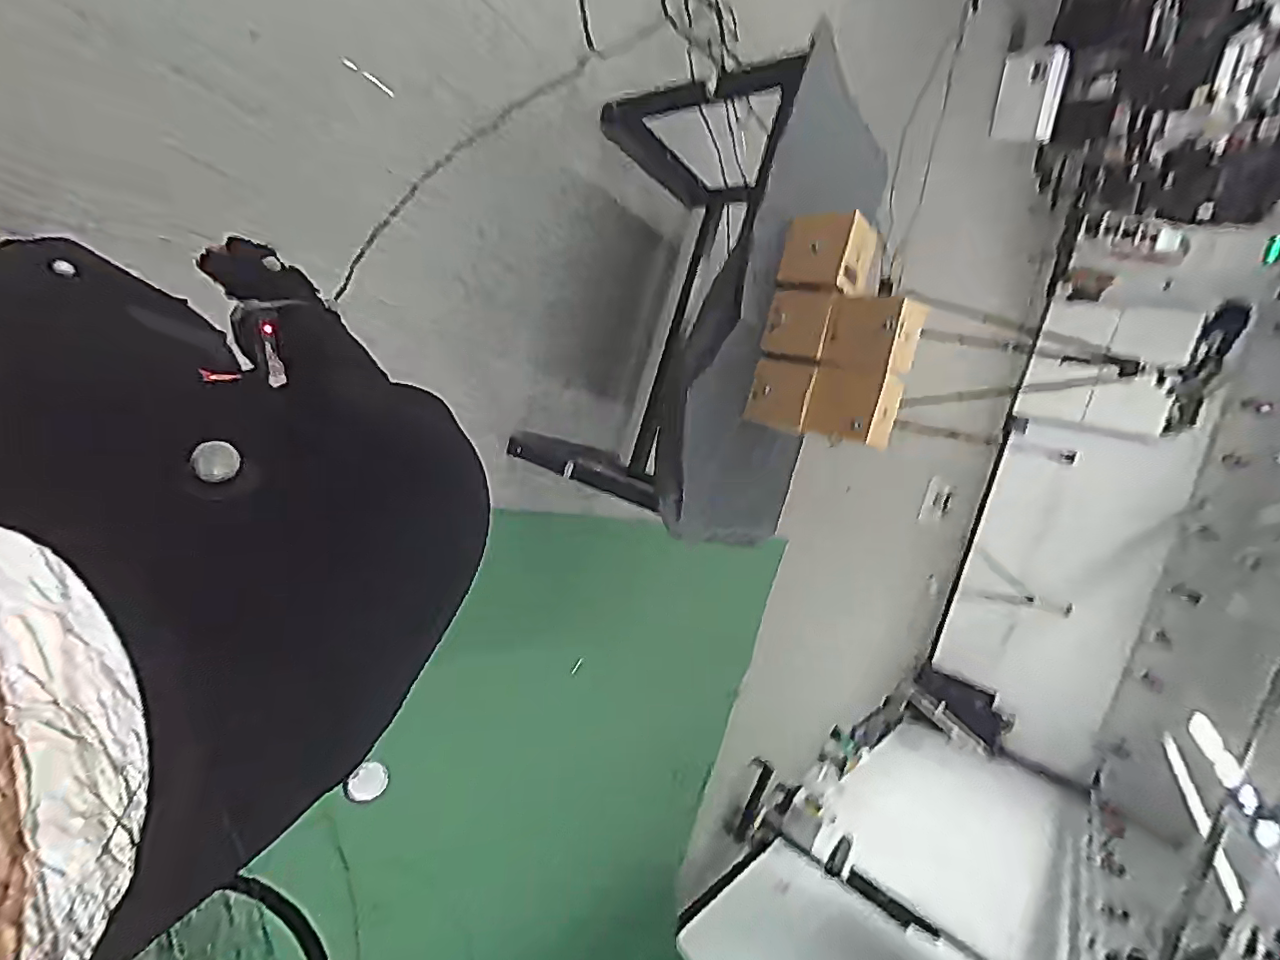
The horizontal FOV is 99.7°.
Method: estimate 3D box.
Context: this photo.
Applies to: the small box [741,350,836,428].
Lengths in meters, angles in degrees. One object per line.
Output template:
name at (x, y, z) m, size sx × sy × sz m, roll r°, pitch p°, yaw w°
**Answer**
small box at (0.403, -0.249, 1.471) m, size 0.179 × 0.176 × 0.168 m, roll 6°, pitch 100°, yaw -51°
